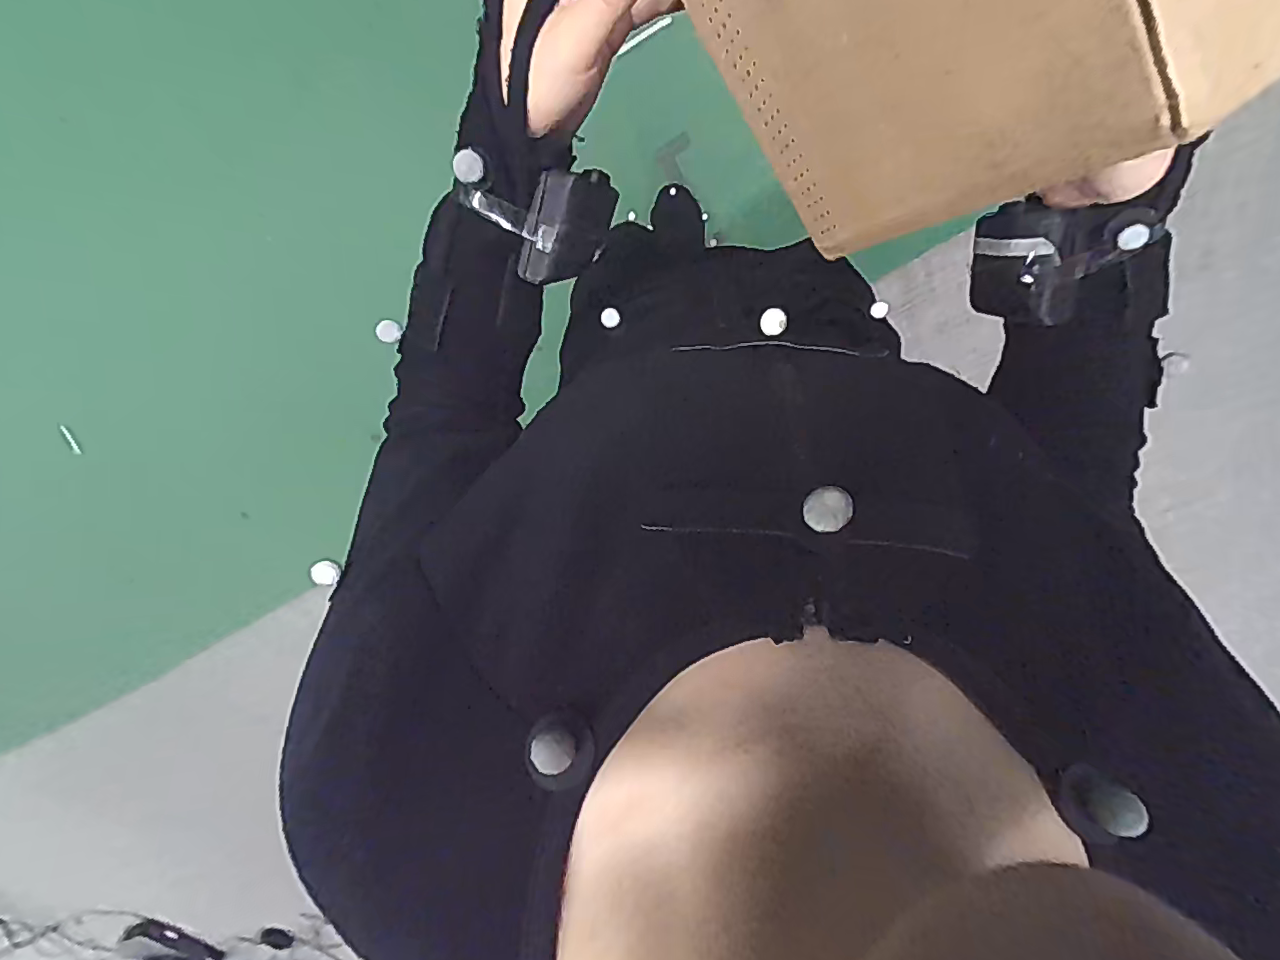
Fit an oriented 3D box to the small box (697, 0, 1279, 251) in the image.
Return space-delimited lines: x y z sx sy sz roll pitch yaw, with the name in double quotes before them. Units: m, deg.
"small box" 0.120 -0.198 0.161 0.168 0.176 0.179 -35 104 5
